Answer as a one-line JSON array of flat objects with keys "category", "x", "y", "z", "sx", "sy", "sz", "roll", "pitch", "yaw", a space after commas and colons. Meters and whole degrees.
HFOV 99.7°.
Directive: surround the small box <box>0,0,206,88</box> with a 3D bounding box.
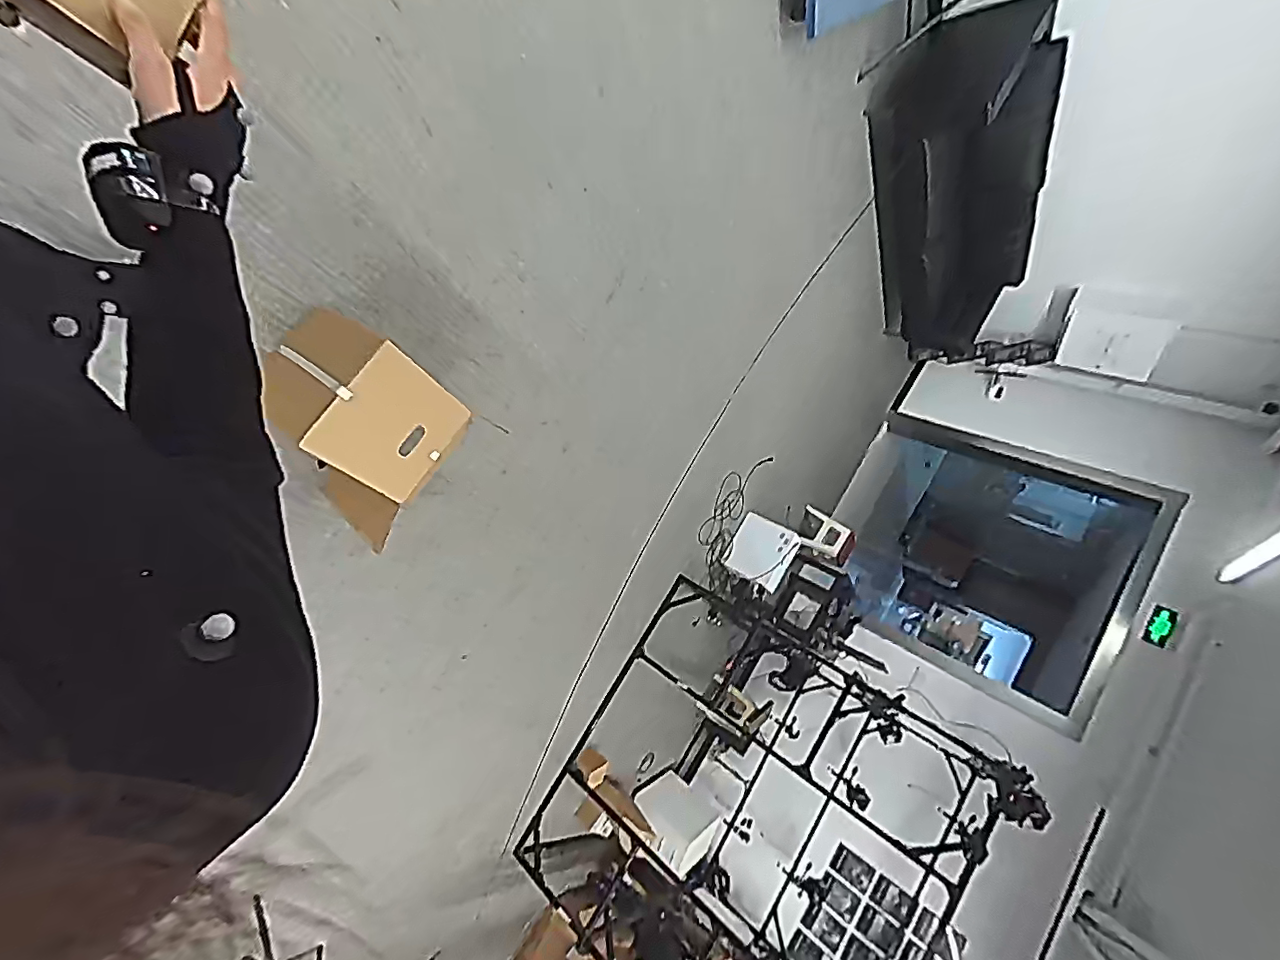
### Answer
[{"category": "small box", "x": -0.461, "y": -0.452, "z": 0.423, "sx": 0.179, "sy": 0.176, "sz": 0.168, "roll": 26, "pitch": 93, "yaw": -54}]
